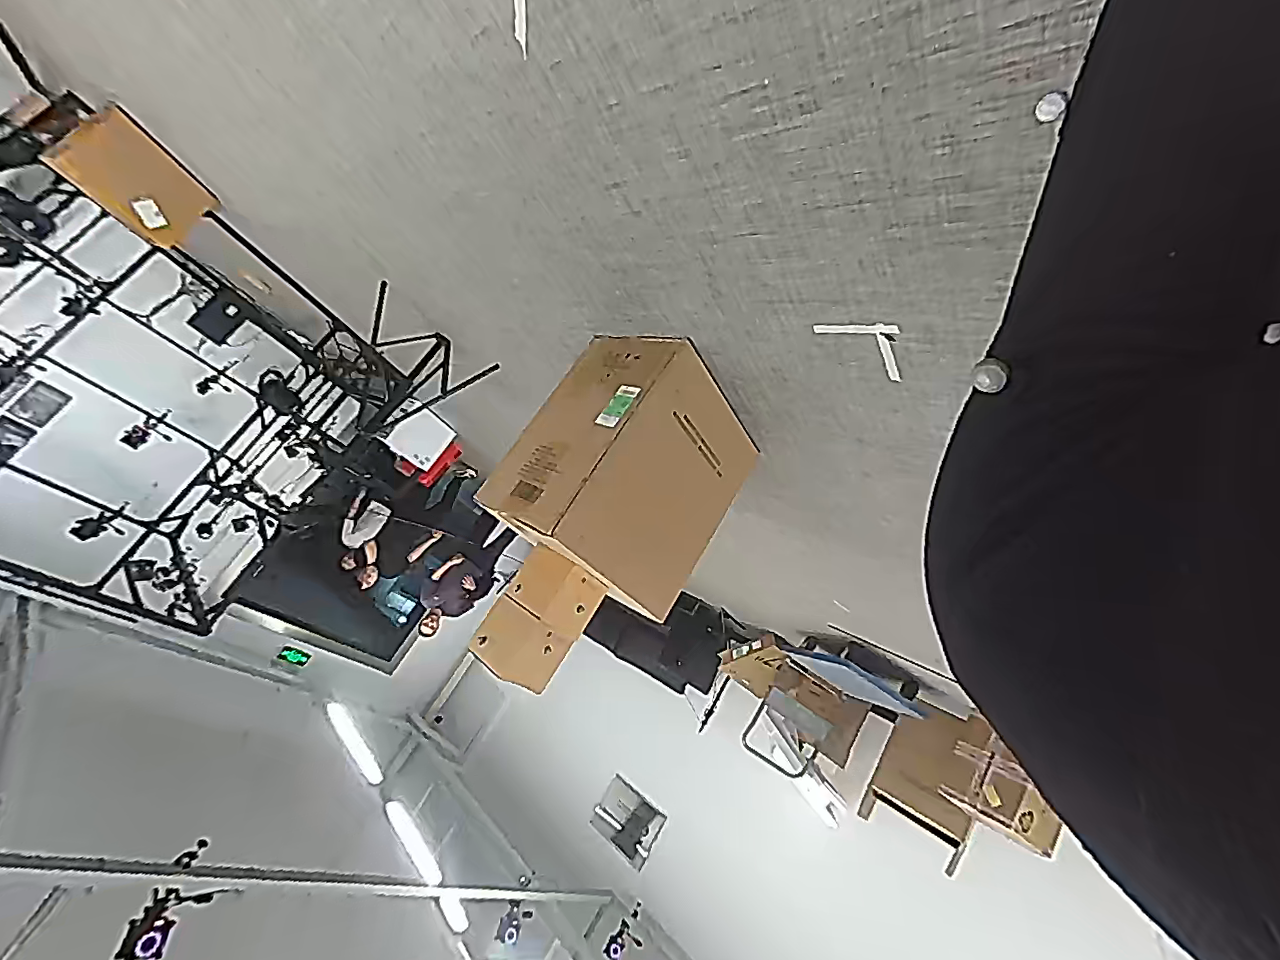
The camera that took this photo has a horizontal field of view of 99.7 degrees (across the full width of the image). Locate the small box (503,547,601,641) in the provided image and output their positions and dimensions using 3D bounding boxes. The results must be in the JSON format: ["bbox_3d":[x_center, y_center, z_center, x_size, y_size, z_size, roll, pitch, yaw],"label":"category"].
[{"bbox_3d":[-0.228,0.303,1.460,0.179,0.176,0.168,19,160,43],"label":"small box"}]

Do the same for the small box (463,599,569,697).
[{"bbox_3d":[-0.321,0.433,1.420,0.179,0.176,0.168,20,161,41],"label":"small box"}]
